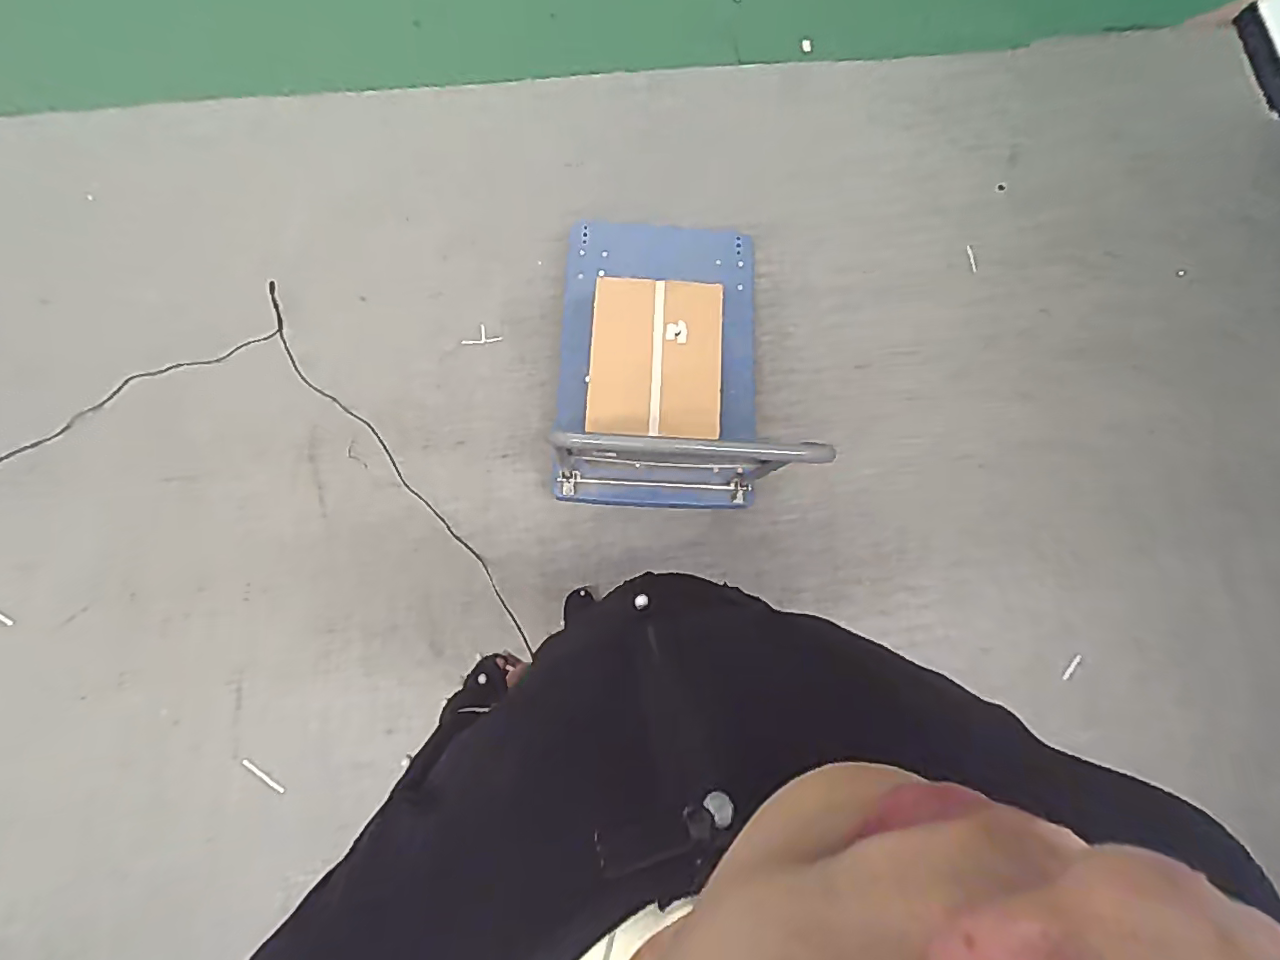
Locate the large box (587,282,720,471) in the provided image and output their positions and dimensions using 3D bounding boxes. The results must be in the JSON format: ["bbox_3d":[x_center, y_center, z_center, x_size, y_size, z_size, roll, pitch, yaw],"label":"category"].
[{"bbox_3d":[0.031,-0.254,1.434,0.320,0.320,0.408,3,77,-3],"label":"large box"}]
